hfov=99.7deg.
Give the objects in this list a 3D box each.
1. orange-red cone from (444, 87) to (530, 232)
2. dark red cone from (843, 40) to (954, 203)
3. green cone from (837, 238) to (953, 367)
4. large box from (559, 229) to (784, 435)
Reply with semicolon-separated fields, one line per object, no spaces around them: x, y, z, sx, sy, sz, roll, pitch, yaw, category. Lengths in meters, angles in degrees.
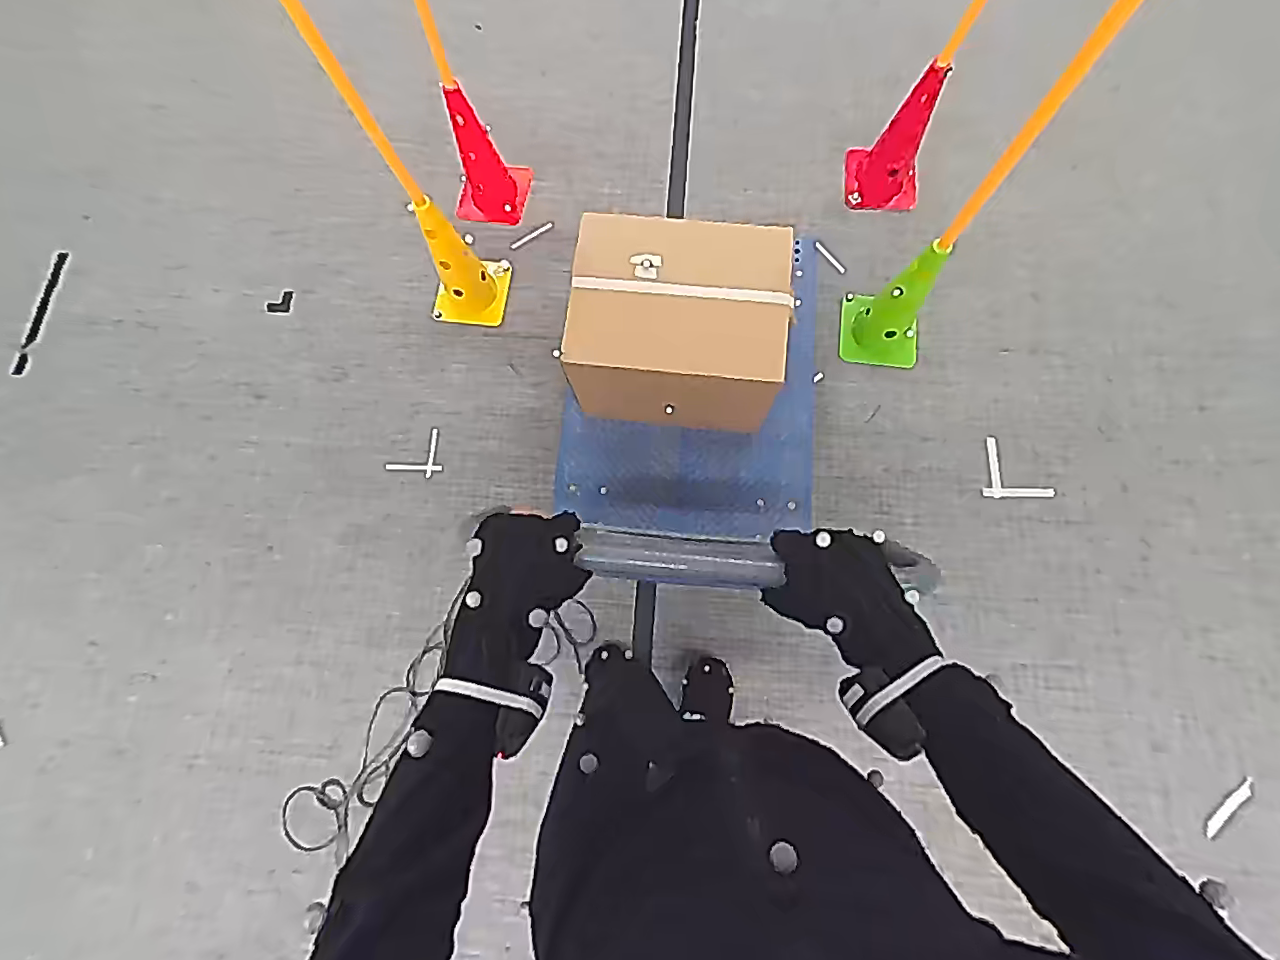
-0.448;-0.884;1.463;0.198;0.360;0.199;10;76;4;orange-red cone
0.684;-0.920;1.393;0.201;0.394;0.202;3;78;2;dark red cone
0.635;-0.445;1.303;0.202;0.368;0.200;7;77;3;green cone
0.074;-0.295;1.150;0.408;0.320;0.320;6;77;5;large box
